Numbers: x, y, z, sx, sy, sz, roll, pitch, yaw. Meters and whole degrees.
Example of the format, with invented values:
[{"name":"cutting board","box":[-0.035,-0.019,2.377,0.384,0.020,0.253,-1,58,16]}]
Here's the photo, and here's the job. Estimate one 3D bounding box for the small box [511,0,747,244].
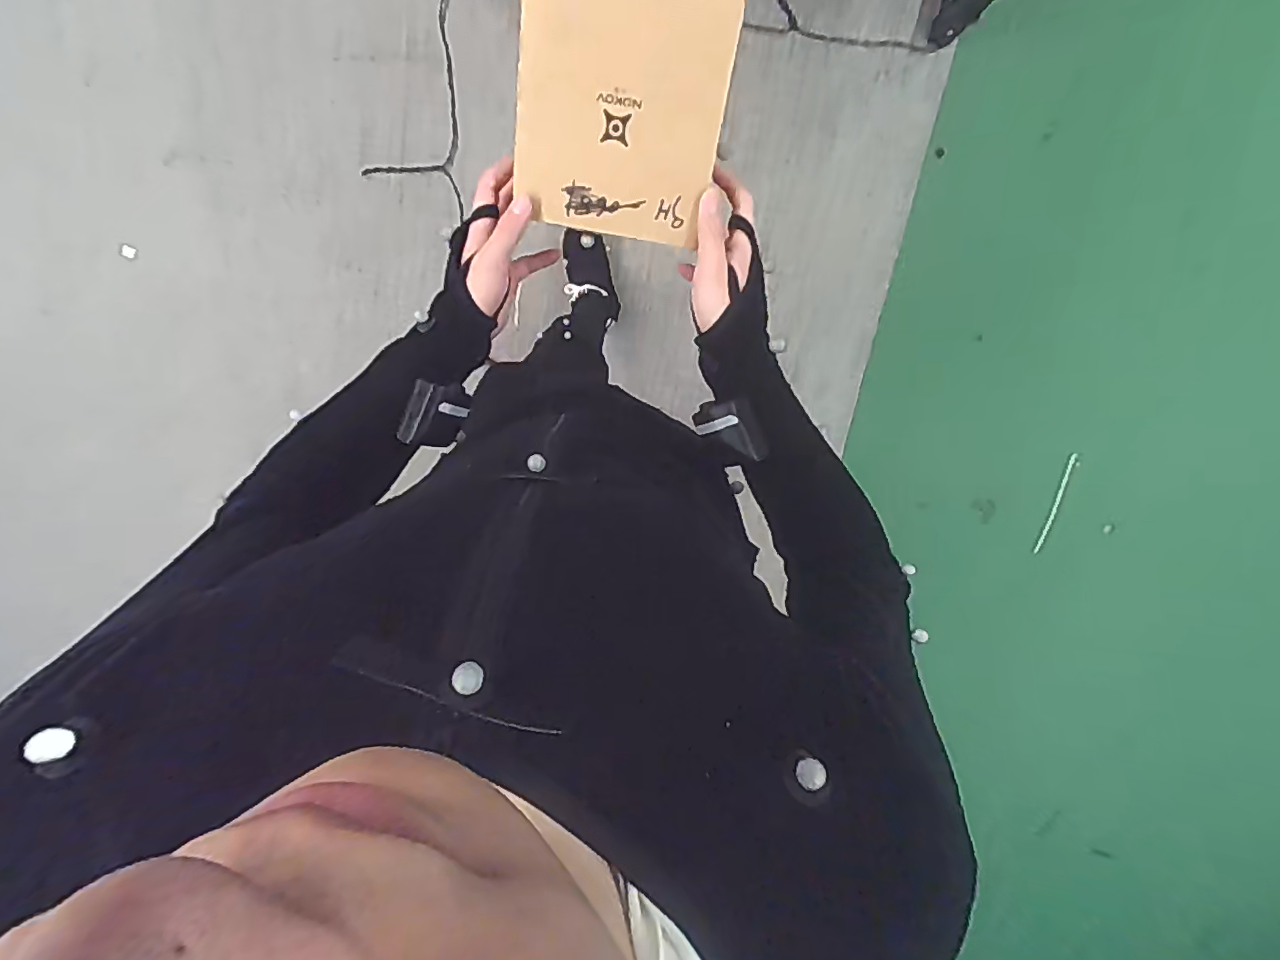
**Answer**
[{"name":"small box","box":[-0.010,-0.328,0.497,0.168,0.176,0.179,11,117,1]}]
